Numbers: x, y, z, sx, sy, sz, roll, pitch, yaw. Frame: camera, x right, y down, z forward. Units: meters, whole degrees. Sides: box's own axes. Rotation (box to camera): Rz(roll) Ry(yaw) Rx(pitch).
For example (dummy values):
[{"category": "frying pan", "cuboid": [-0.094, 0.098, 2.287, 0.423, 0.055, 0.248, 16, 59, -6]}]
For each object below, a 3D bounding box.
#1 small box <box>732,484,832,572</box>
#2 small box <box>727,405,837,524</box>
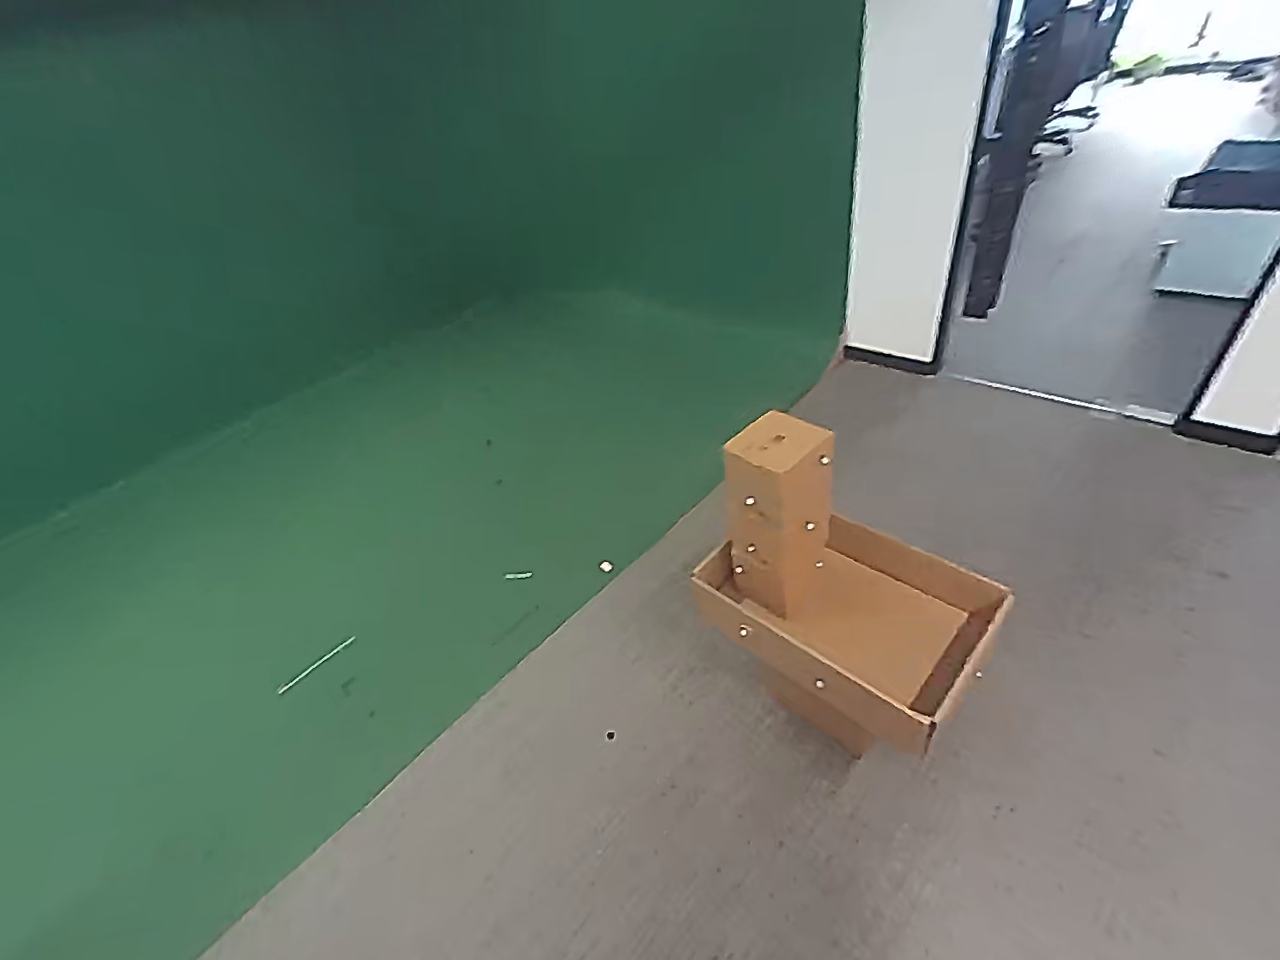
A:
[{"category": "small box", "cuboid": [0.344, 0.088, 1.319, 0.179, 0.176, 0.168, -37, 45, -25]}, {"category": "small box", "cuboid": [0.316, -0.036, 1.214, 0.179, 0.176, 0.168, -35, 44, -24]}]
